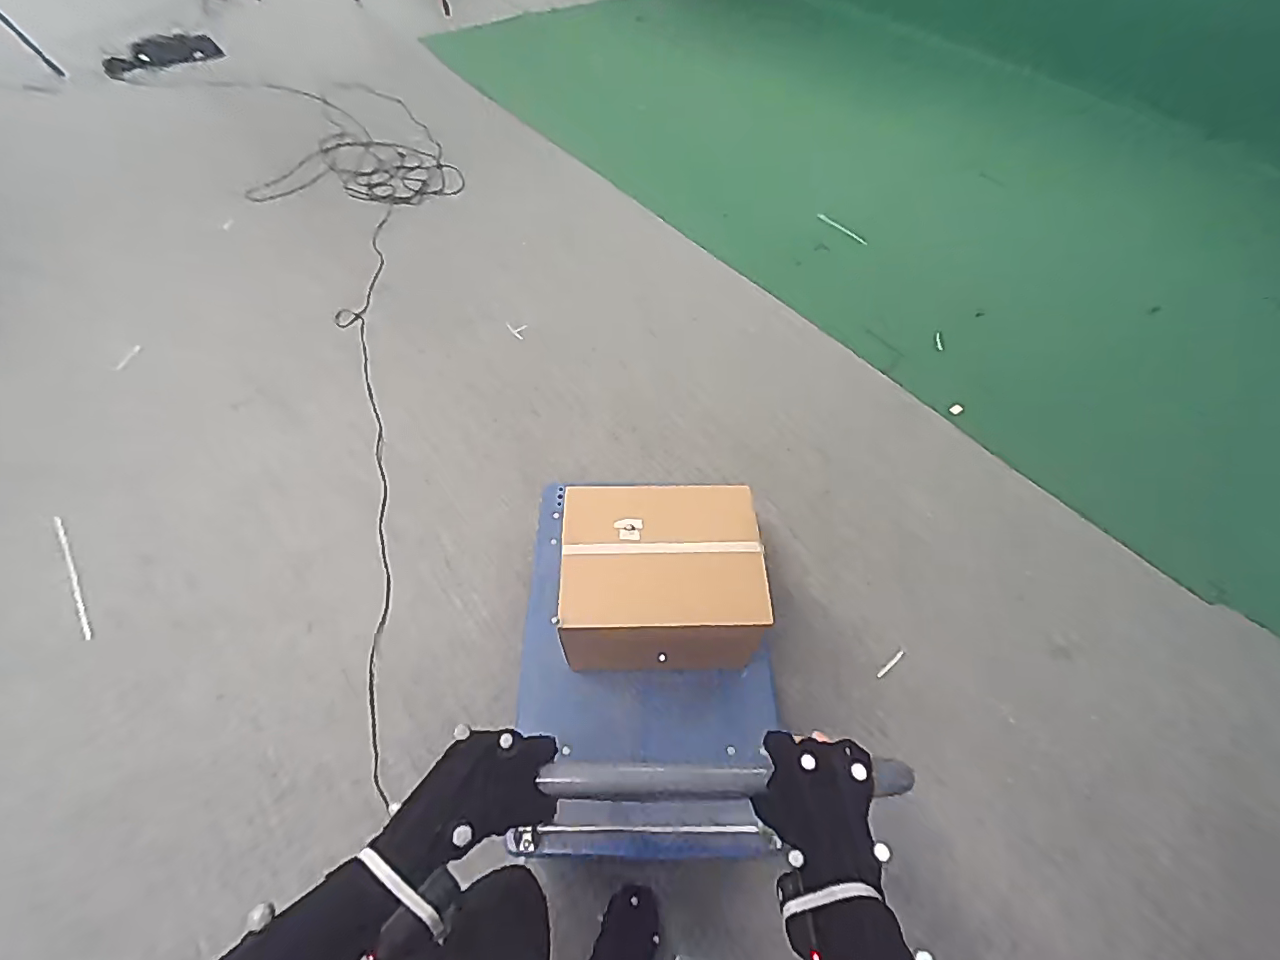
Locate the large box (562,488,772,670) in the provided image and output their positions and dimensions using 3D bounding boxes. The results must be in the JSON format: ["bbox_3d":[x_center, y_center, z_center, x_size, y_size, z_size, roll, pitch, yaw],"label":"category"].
[{"bbox_3d":[0.046,0.232,1.219,0.408,0.320,0.320,-1,56,-2],"label":"large box"}]
